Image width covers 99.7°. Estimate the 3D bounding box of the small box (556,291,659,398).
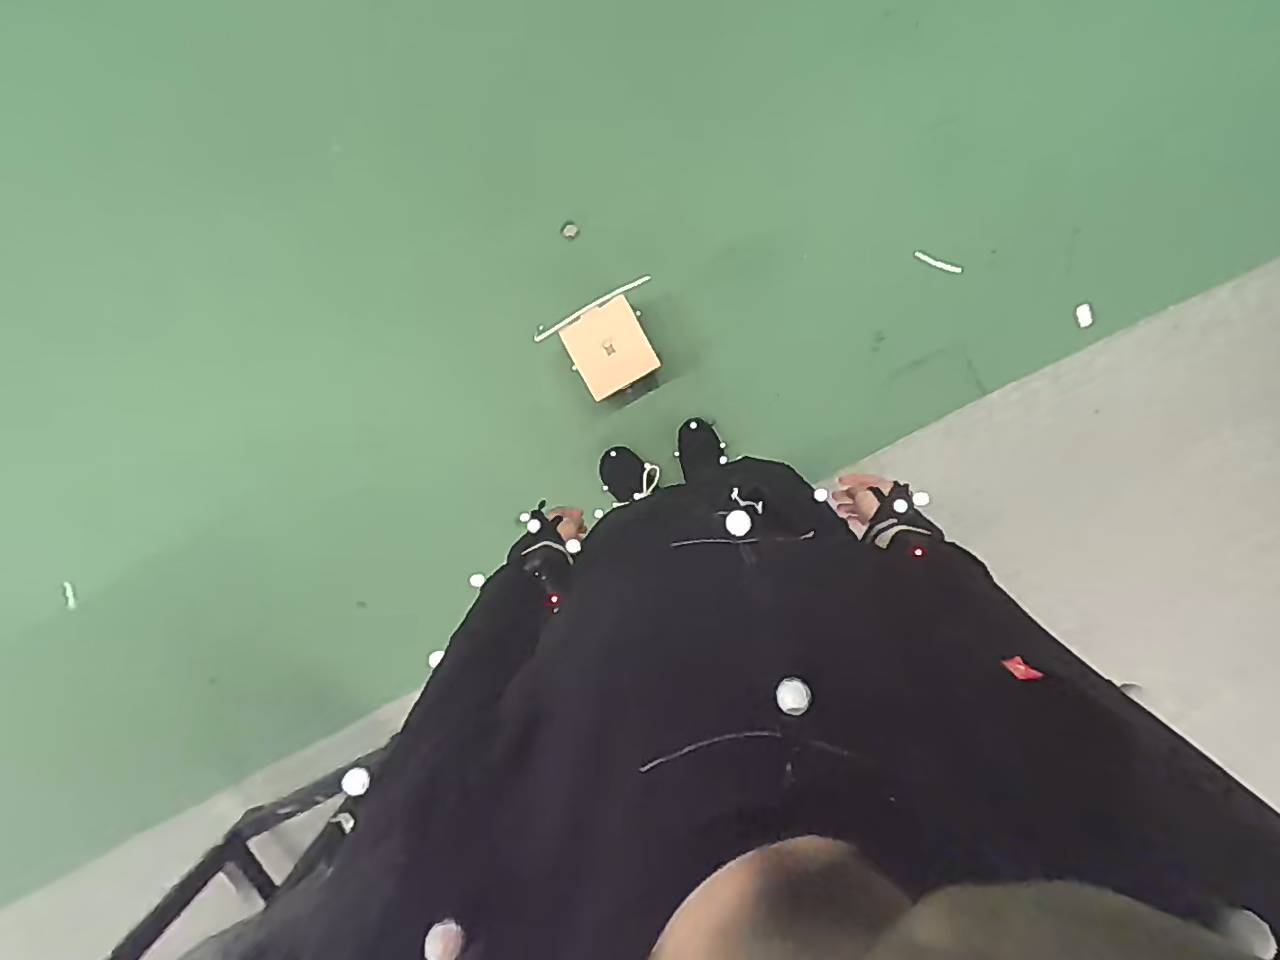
[{"bbox_3d":[-0.069,-0.302,1.238,0.168,0.176,0.179,-29,99,7],"label":"small box"}]
